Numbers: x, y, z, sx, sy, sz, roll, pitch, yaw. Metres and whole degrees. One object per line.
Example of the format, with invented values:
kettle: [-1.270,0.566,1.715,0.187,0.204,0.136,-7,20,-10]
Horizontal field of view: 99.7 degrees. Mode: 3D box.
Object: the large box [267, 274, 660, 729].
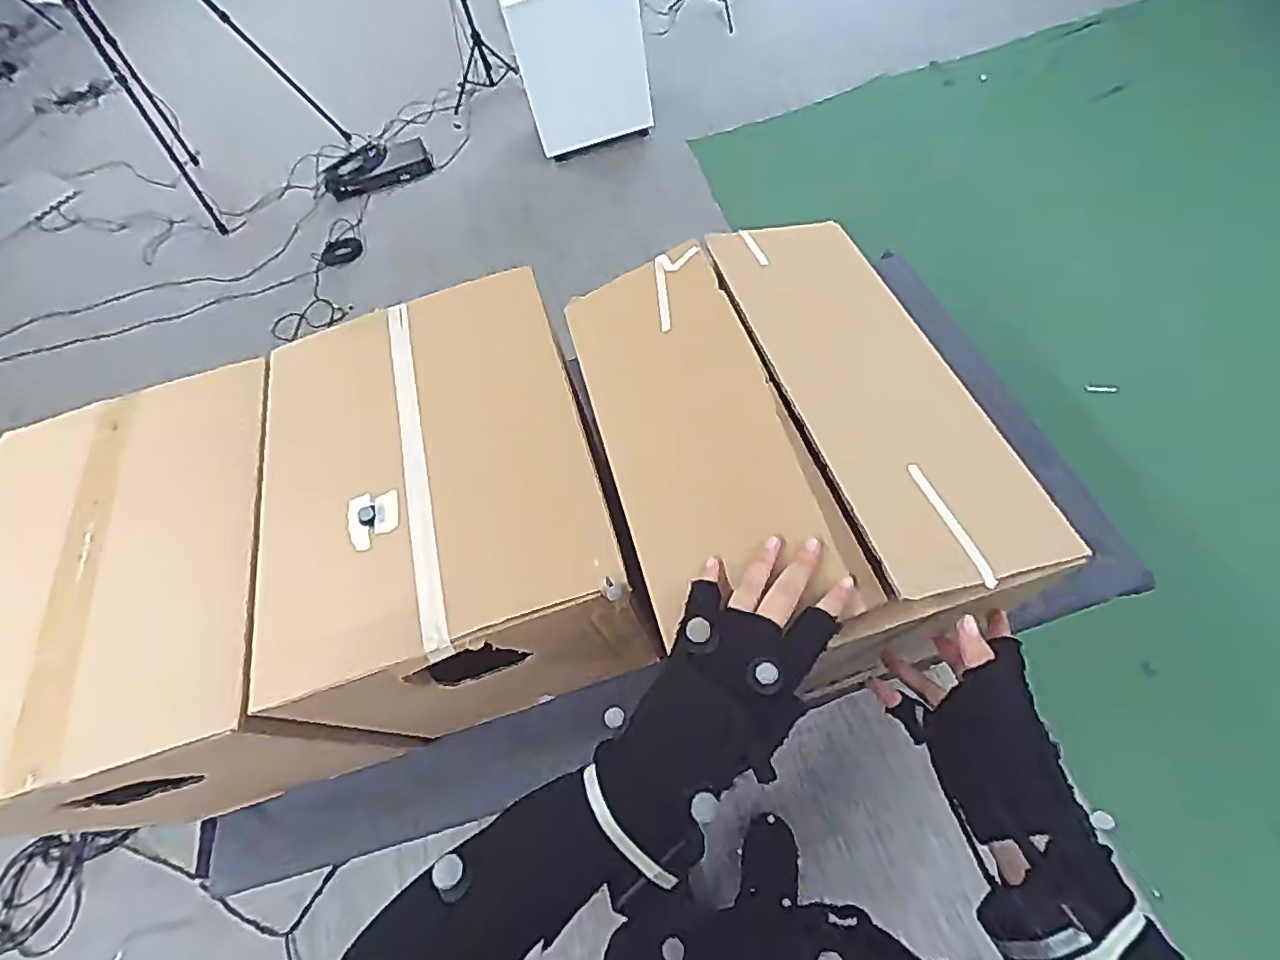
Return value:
large box: [-0.191,0.038,0.655,0.320,0.320,0.408,-19,61,-1]
